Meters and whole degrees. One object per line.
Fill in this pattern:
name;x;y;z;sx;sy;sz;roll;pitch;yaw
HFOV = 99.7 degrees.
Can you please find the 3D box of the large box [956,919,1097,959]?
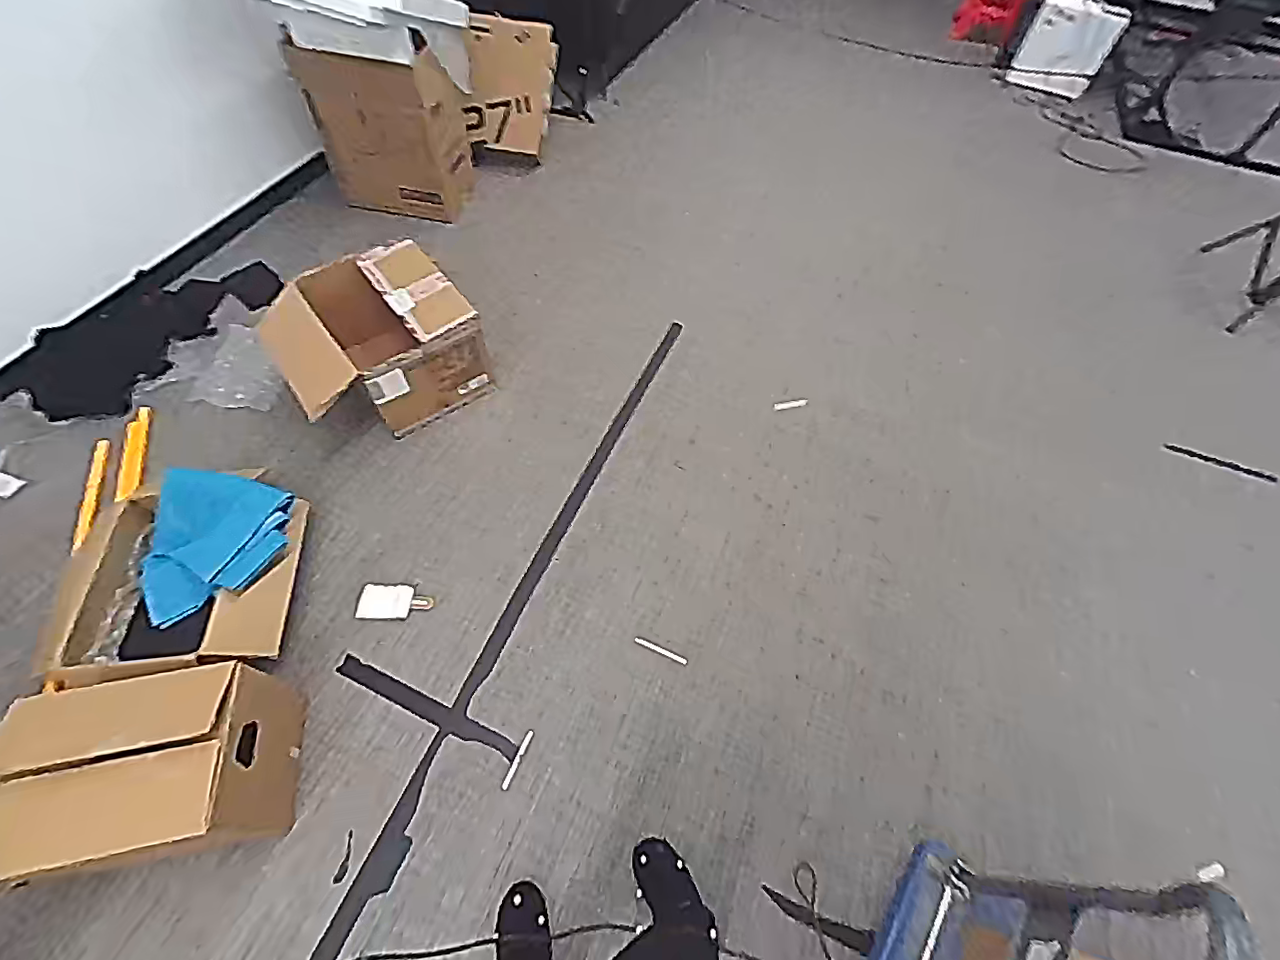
large box;0.704;0.972;0.805;0.320;0.320;0.408;17;59;8
